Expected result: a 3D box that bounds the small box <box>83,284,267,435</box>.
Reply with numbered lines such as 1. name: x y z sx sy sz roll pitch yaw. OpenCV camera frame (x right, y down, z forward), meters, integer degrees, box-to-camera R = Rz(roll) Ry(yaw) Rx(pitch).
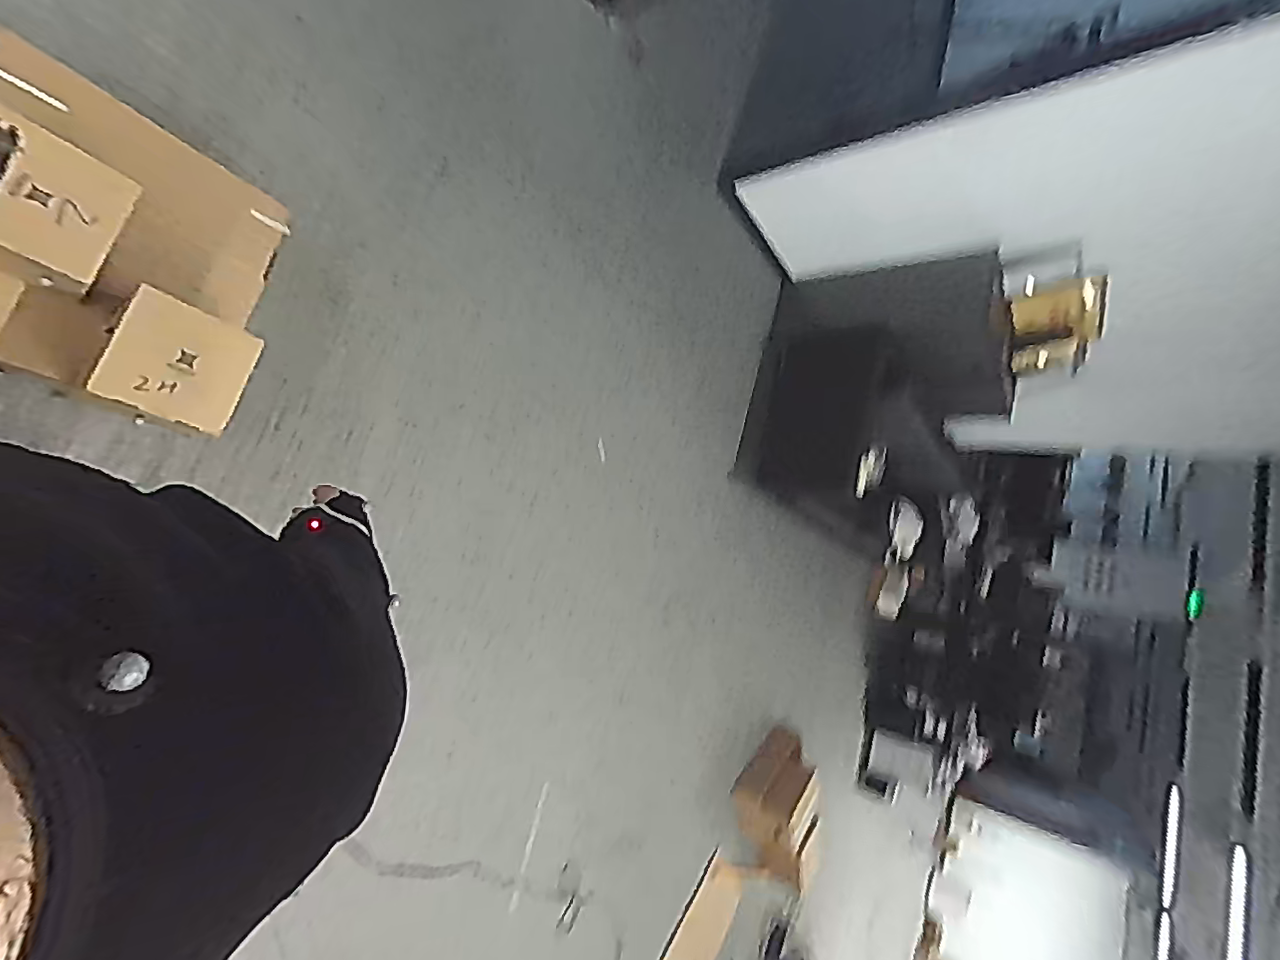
1. small box: -0.755 -0.185 0.878 0.168 0.176 0.179 30 71 -48
